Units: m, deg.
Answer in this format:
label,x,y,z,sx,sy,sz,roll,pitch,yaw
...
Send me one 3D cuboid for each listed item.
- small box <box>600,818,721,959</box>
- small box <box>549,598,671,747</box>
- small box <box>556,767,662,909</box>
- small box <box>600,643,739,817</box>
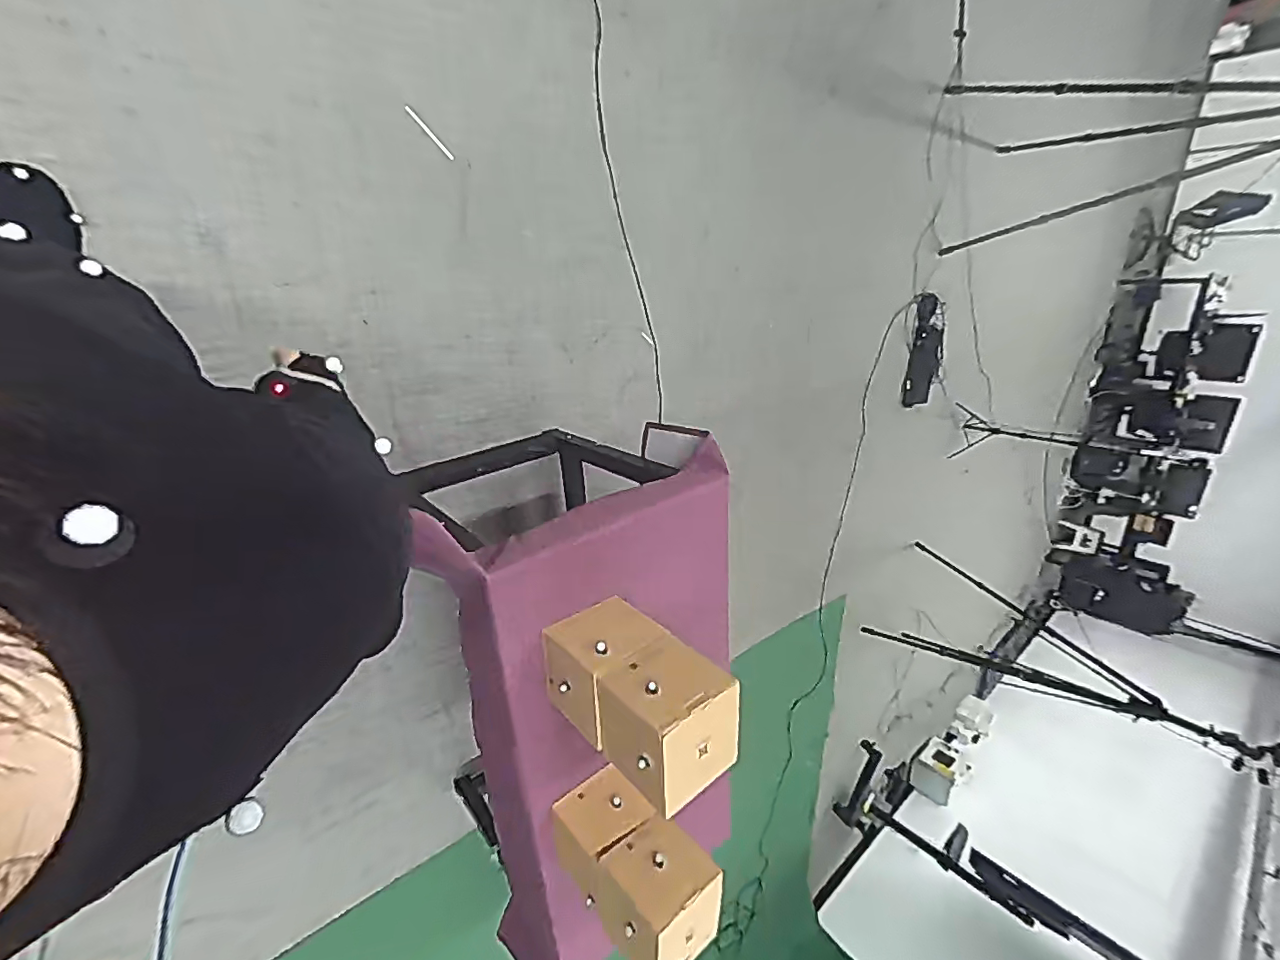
label,x,y,z,sx,sy,sz,roll,pitch,yaw
small box,0.035,0.792,1.035,0.168,0.176,0.179,-14,113,-38
small box,-0.060,0.351,1.019,0.179,0.176,0.168,-17,117,-37
small box,-0.068,0.755,1.159,0.168,0.176,0.179,-19,117,-36
small box,0.046,0.398,0.904,0.168,0.176,0.179,-18,117,-35
